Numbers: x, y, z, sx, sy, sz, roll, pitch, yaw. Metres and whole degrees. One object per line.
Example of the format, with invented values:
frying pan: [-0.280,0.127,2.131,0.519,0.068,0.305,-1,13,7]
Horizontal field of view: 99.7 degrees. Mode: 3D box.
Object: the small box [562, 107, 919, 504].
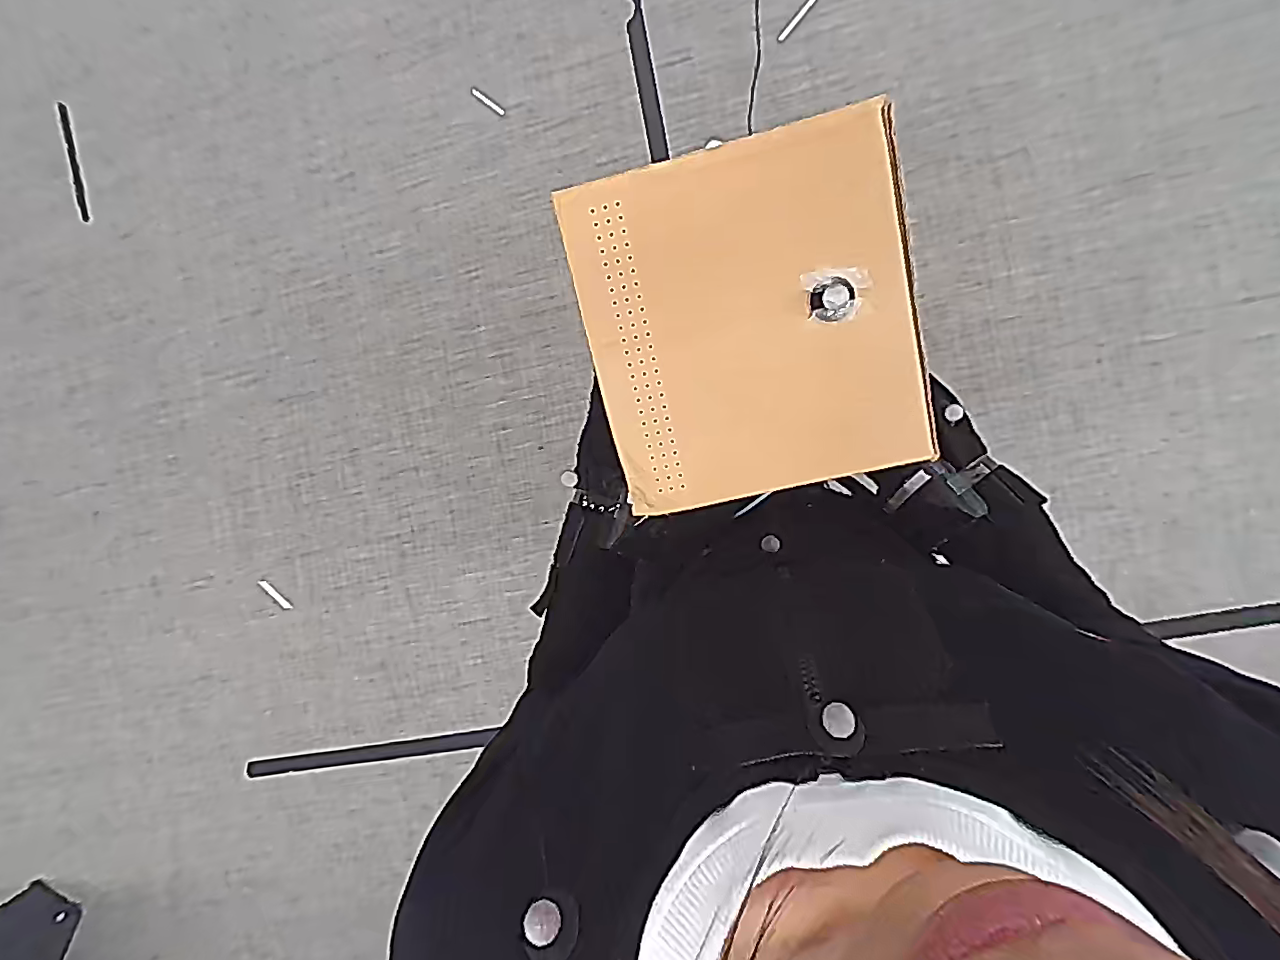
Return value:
small box: [0.057,-0.100,0.364,0.176,0.168,0.179,-12,102,8]
